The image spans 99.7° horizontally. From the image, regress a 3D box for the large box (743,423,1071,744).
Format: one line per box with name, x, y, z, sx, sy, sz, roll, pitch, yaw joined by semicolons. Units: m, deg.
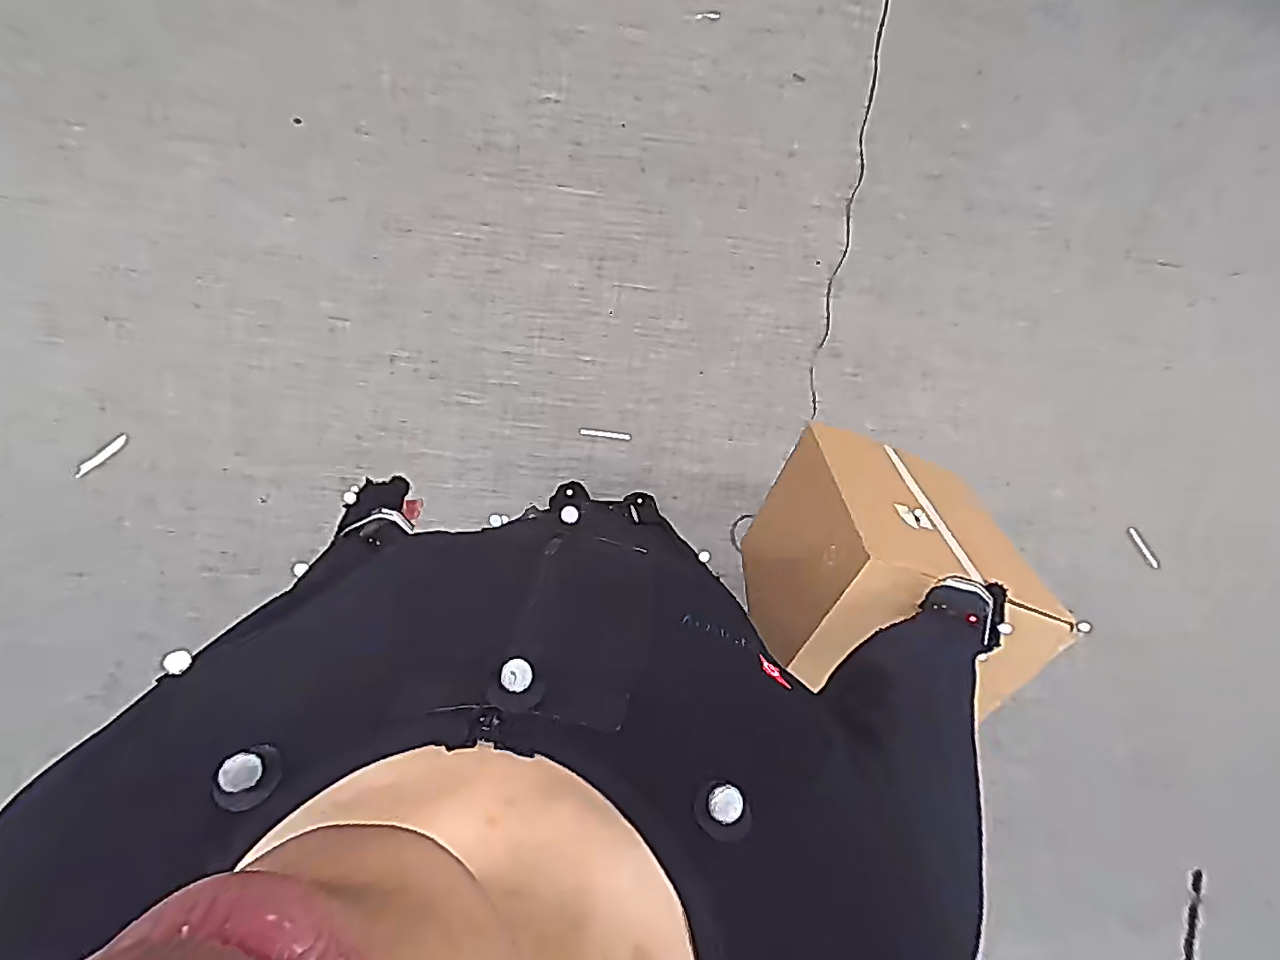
large box;0.399;0.163;0.947;0.320;0.408;0.320;19;122;-6
